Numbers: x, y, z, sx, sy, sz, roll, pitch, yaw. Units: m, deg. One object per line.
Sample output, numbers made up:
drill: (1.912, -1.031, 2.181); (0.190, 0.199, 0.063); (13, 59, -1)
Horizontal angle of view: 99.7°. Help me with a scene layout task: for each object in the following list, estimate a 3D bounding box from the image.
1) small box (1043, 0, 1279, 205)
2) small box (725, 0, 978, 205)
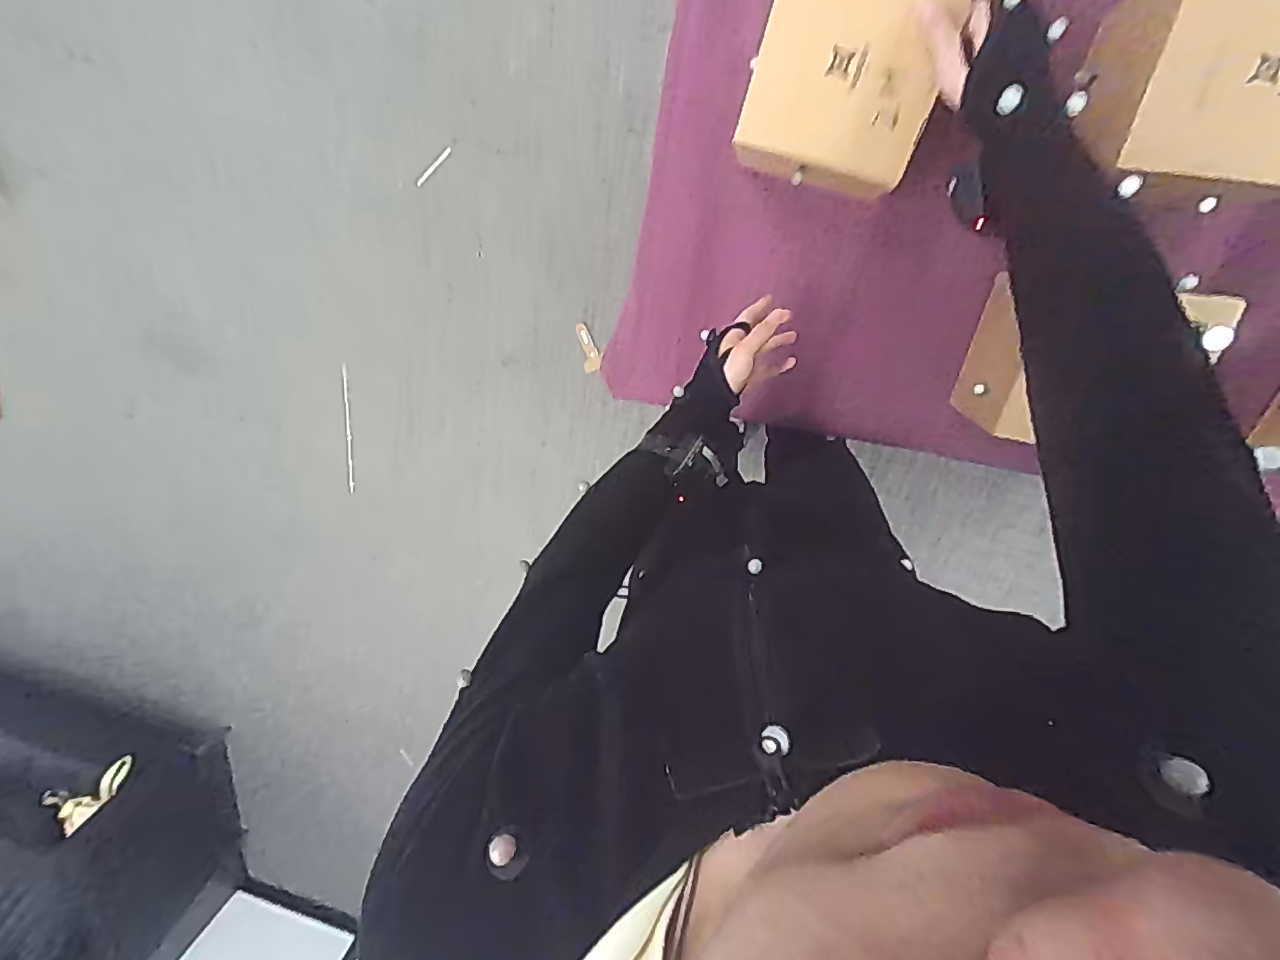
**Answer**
small box: (0.541, -0.367, 0.515); (0.179, 0.176, 0.168); (13, 113, 9)
small box: (0.207, -0.410, 0.578); (0.179, 0.176, 0.168); (22, 115, 5)
